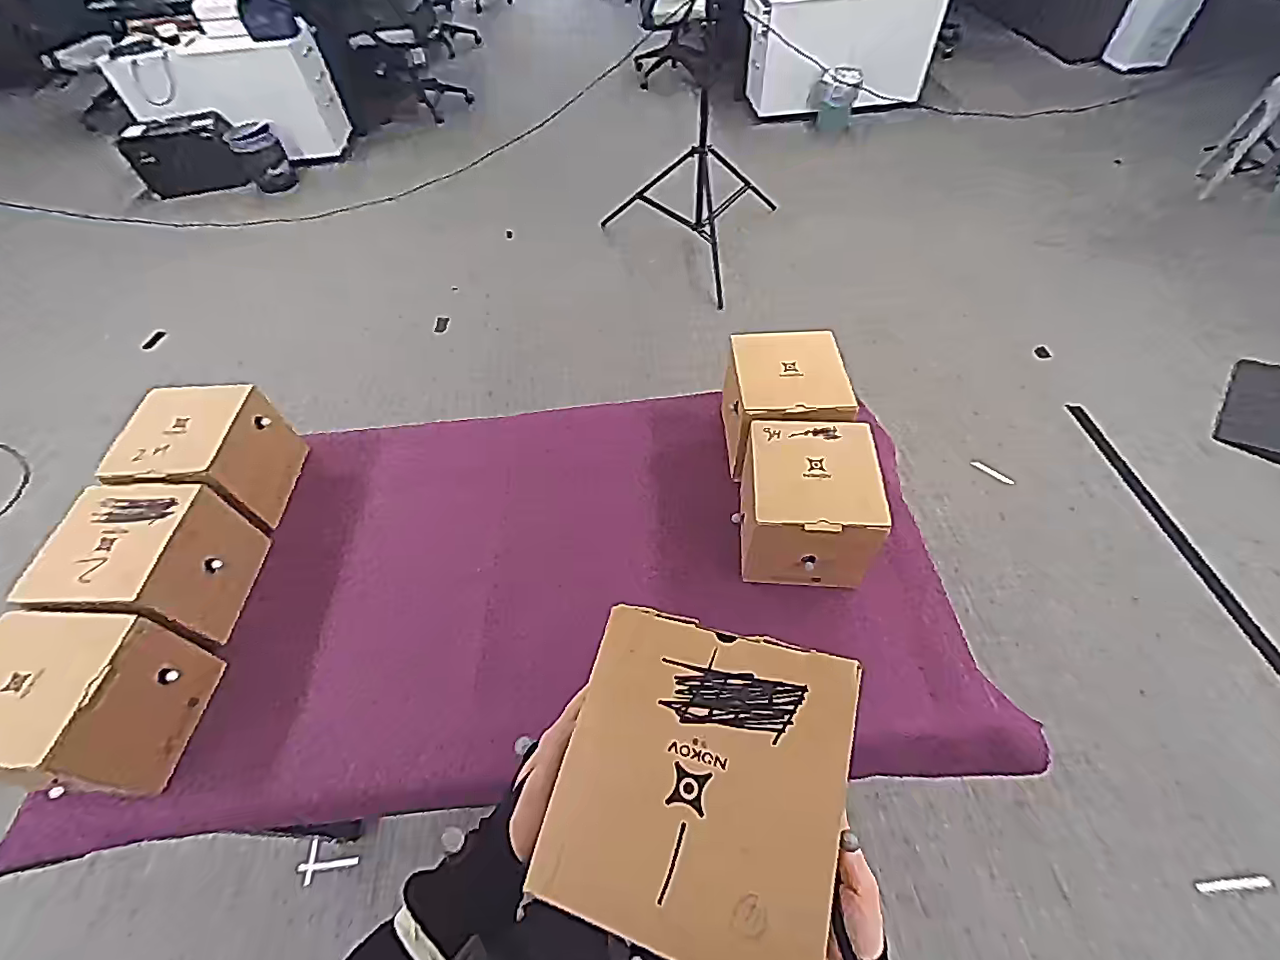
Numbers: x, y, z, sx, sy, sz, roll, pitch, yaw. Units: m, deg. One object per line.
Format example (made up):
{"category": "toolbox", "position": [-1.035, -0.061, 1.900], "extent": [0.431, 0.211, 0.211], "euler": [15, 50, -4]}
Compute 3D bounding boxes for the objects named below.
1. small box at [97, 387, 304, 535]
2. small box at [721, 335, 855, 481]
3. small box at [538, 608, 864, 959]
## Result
{"category": "small box", "position": [-0.685, -0.028, 0.874], "extent": [0.168, 0.176, 0.179], "euler": [-2, 55, 1]}
{"category": "small box", "position": [0.229, -0.116, 0.891], "extent": [0.168, 0.176, 0.179], "euler": [-2, 53, 1]}
{"category": "small box", "position": [0.057, 0.216, 0.389], "extent": [0.168, 0.176, 0.179], "euler": [7, 62, 21]}
